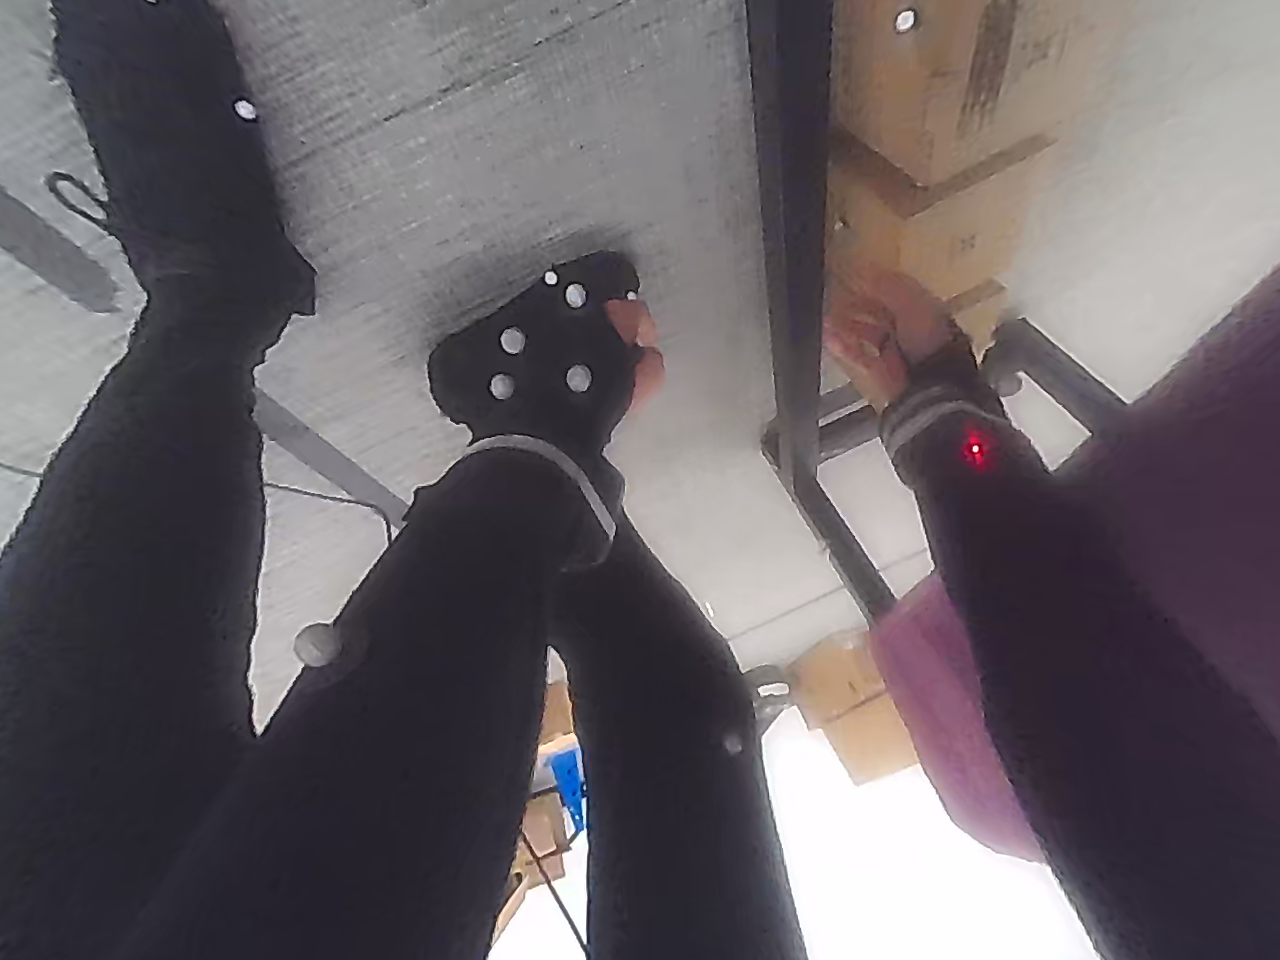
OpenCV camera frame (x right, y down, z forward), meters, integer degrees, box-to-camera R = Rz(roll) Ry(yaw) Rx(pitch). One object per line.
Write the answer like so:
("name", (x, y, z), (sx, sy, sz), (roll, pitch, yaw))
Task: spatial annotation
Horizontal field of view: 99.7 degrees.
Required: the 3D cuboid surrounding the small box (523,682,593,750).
("small box", (-0.288, 0.830, 1.904), (0.168, 0.176, 0.179), (-26, 146, 5))
